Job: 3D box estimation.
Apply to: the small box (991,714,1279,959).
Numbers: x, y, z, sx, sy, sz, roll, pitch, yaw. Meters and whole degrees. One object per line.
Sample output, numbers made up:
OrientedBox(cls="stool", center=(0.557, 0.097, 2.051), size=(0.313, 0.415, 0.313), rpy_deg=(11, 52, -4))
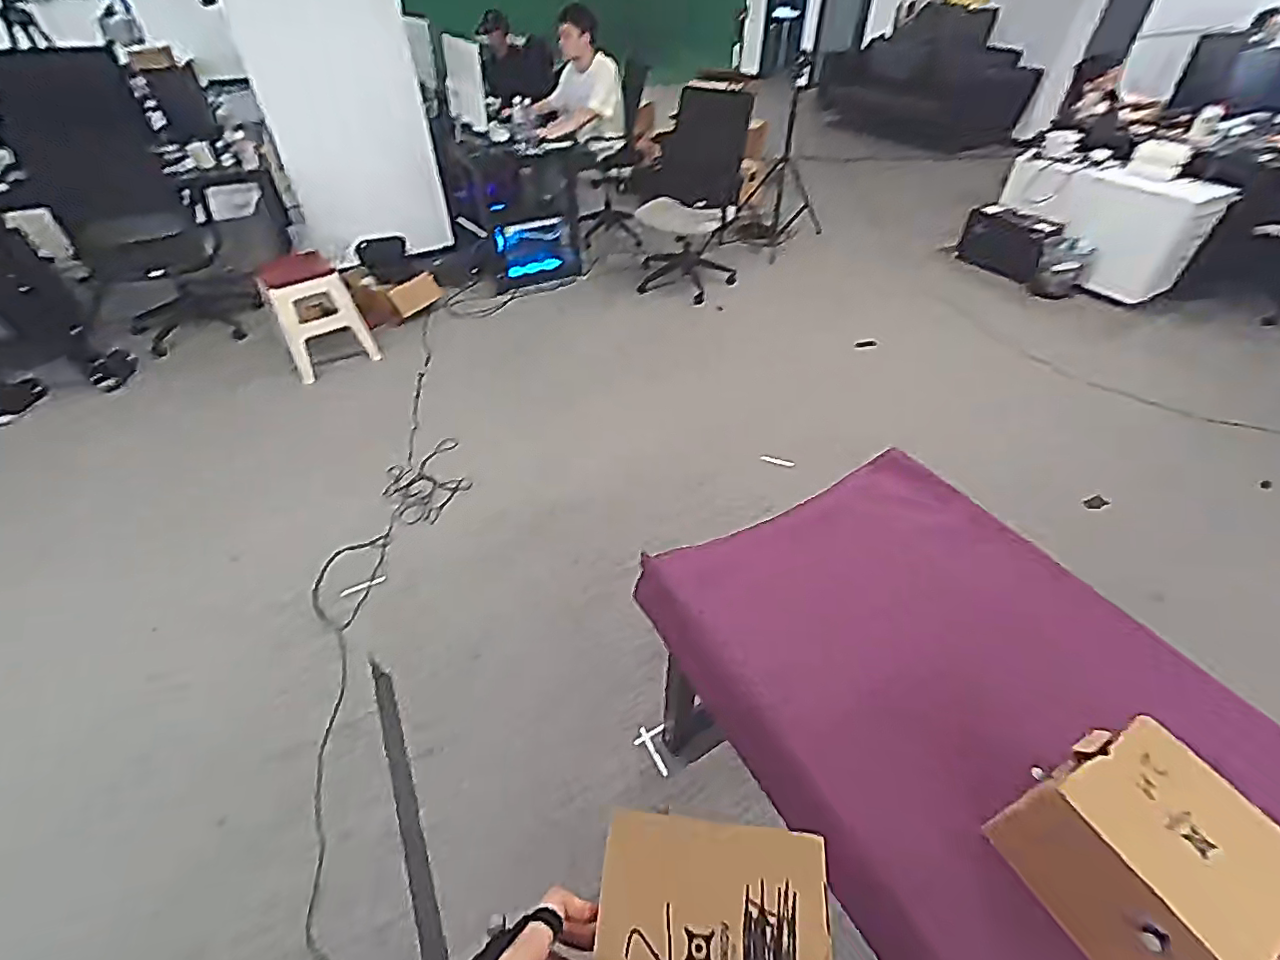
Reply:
OrientedBox(cls="small box", center=(0.536, 0.396, 0.581), size=(0.168, 0.176, 0.179), rpy_deg=(-19, 47, -20))
